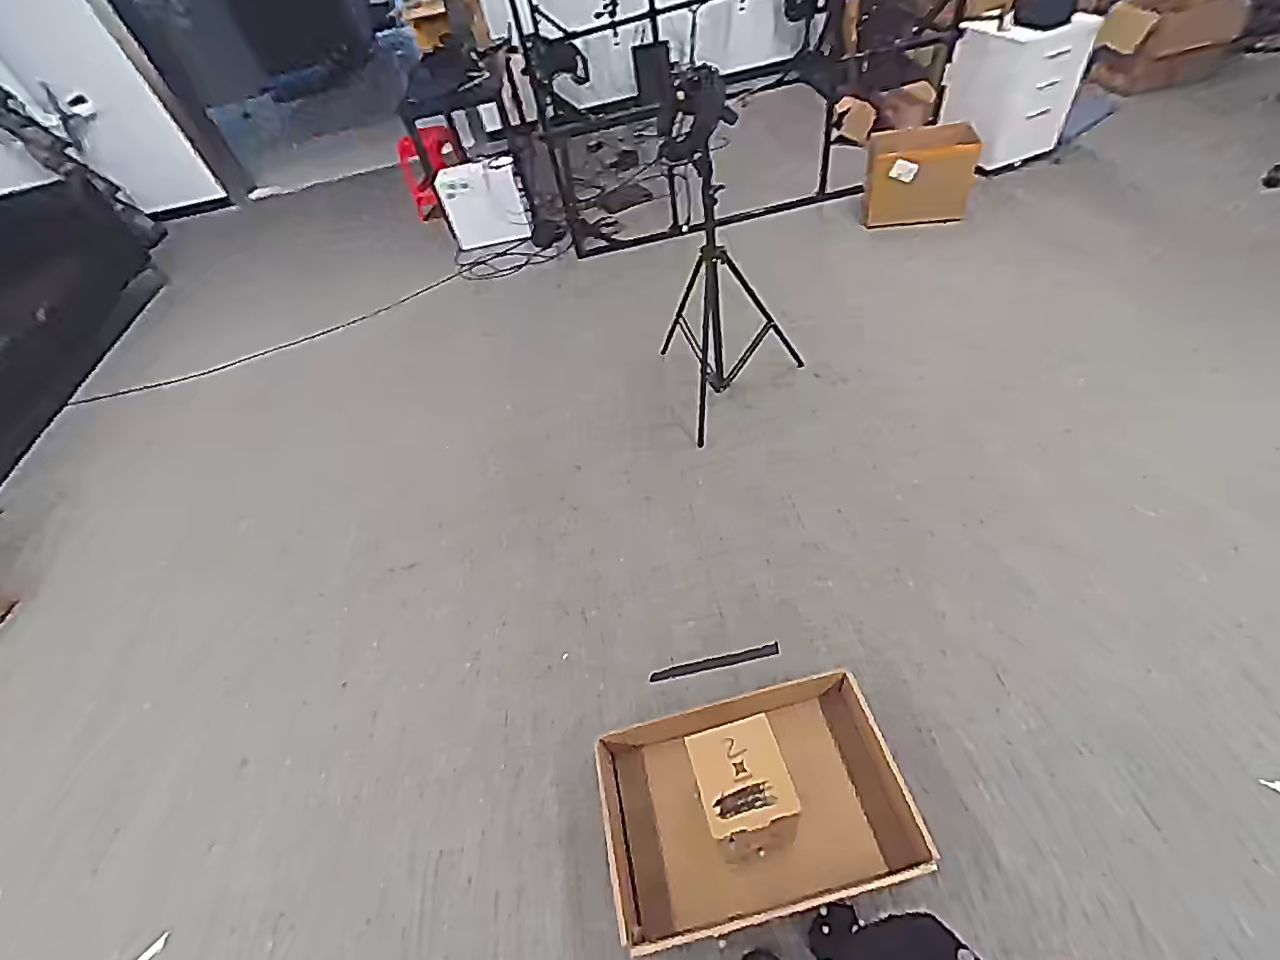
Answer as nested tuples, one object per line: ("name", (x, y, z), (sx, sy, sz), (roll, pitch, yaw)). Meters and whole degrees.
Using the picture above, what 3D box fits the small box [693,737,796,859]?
("small box", (0.222, 0.690, 1.170), (0.168, 0.176, 0.179), (-17, 49, -2))
